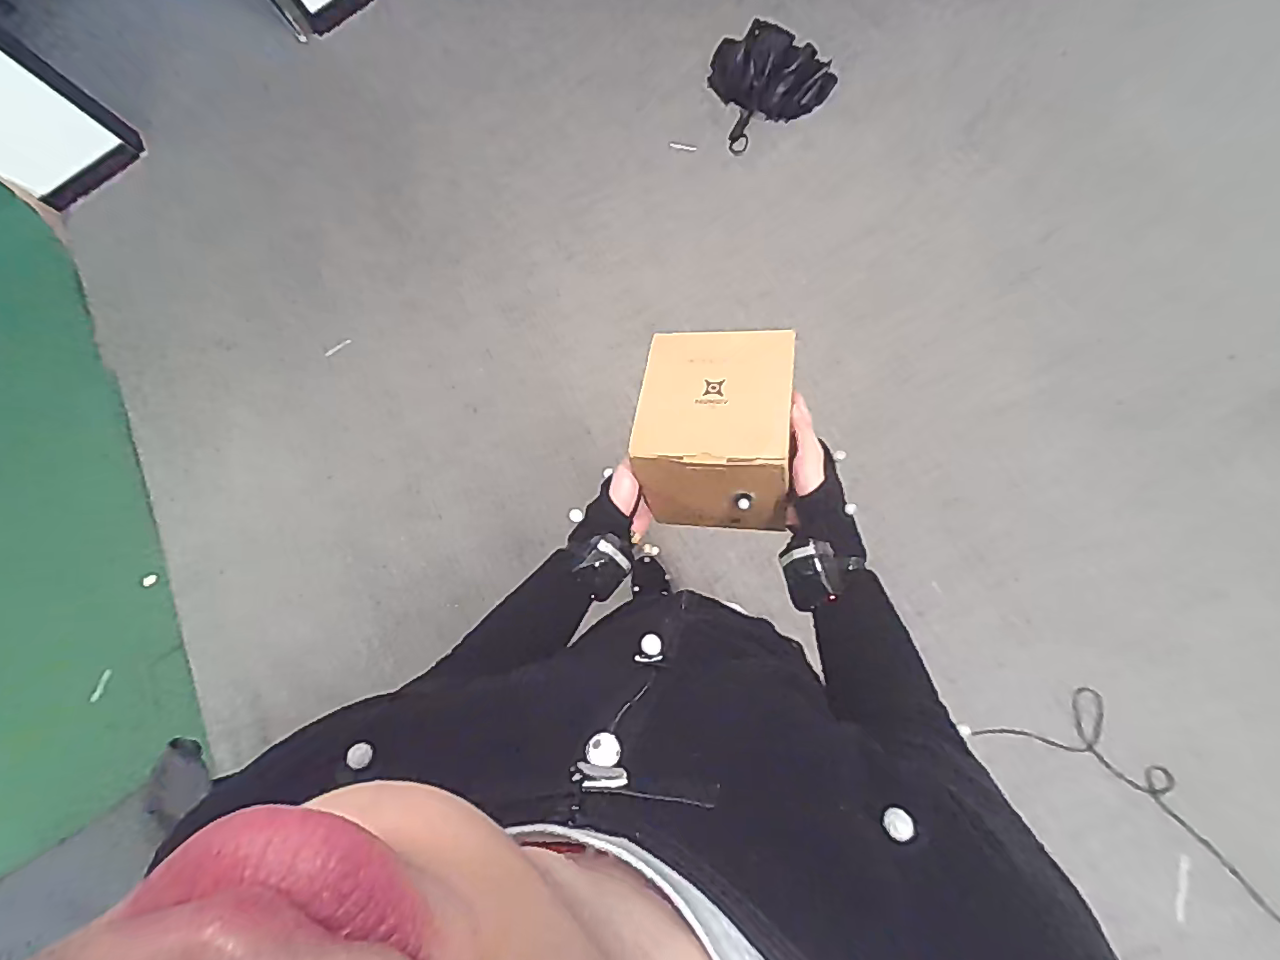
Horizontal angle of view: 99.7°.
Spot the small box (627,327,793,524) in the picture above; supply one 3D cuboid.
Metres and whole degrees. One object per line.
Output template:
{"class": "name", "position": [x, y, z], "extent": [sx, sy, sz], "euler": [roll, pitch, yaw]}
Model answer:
{"class": "small box", "position": [0.094, -0.060, 0.653], "extent": [0.168, 0.176, 0.179], "euler": [4, 60, 14]}
